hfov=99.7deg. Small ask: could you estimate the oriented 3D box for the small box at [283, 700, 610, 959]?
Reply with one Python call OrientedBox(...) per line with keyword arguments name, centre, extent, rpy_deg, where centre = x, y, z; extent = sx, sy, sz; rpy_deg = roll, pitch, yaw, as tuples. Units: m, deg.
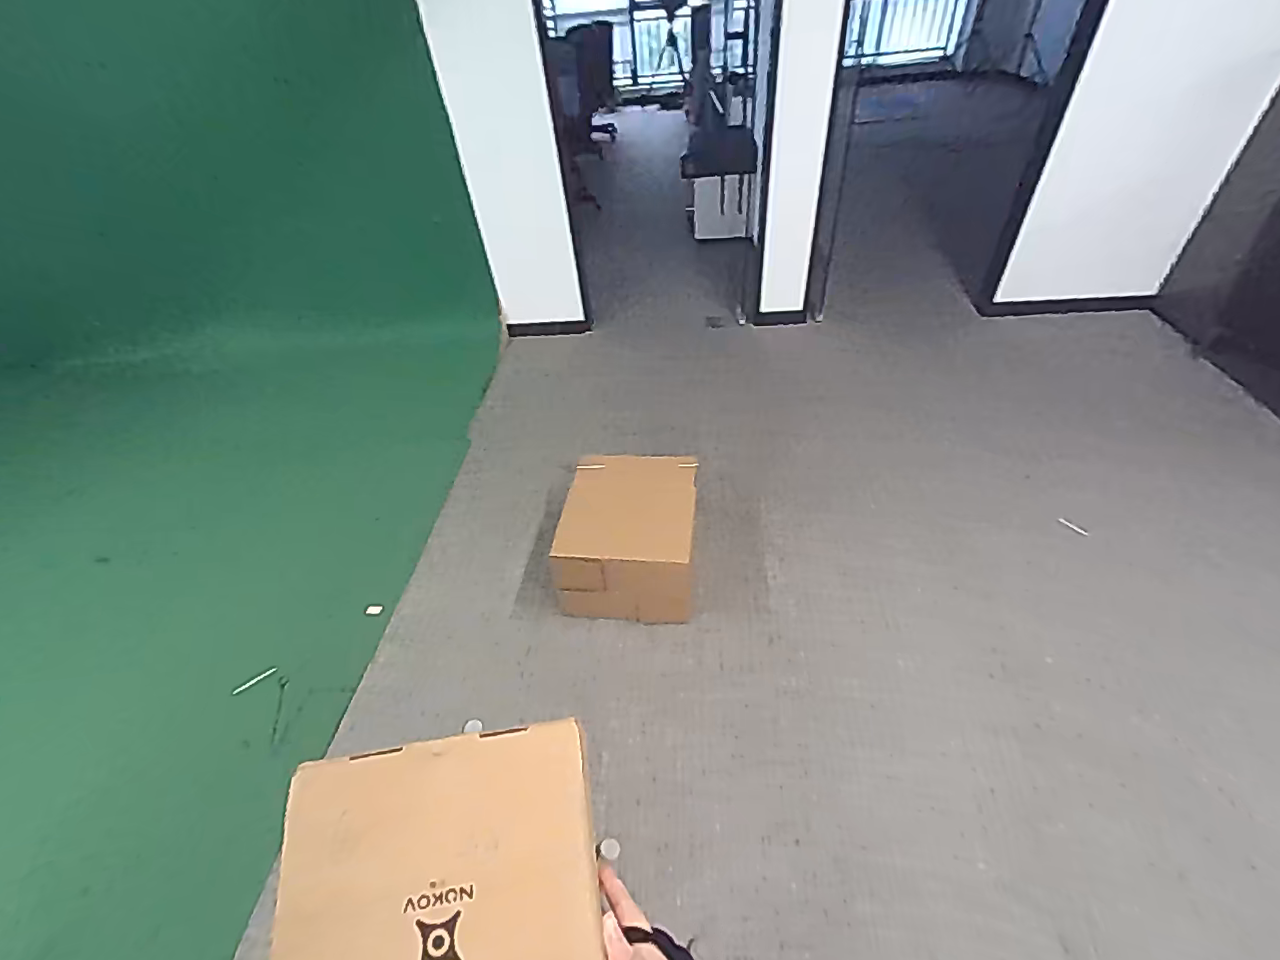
OrientedBox(name="small box", centre=(-0.109, 0.261, 0.363), extent=(0.168, 0.176, 0.179), rpy_deg=(-6, 62, -7))
